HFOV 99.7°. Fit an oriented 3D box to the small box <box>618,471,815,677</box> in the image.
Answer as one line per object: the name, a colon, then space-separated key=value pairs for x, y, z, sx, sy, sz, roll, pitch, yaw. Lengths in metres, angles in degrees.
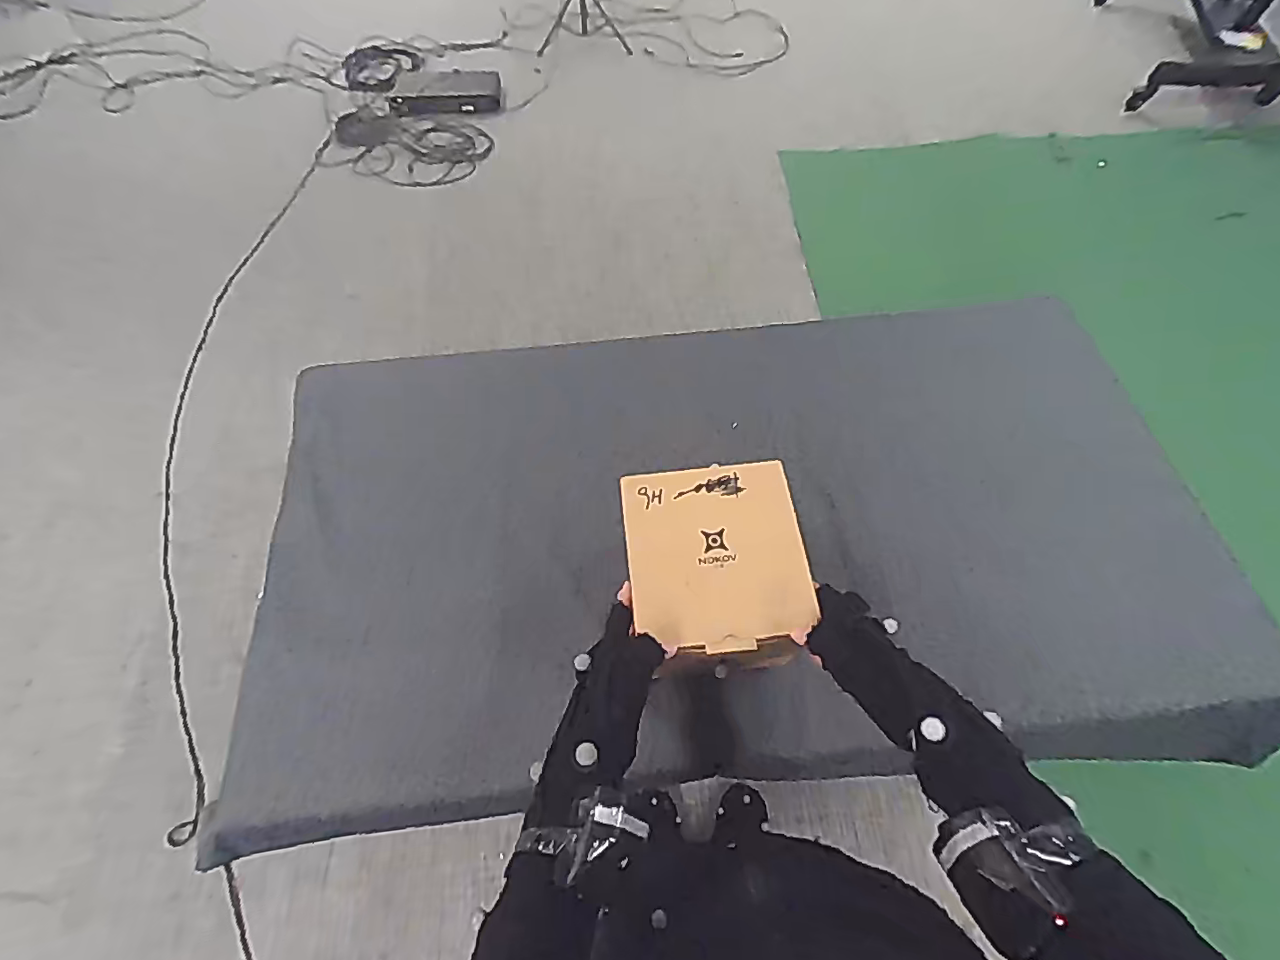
small box: x=0.069 y=0.110 z=0.580 sx=0.168 sy=0.176 sz=0.179 roll=-6 pitch=64 yaw=-2
